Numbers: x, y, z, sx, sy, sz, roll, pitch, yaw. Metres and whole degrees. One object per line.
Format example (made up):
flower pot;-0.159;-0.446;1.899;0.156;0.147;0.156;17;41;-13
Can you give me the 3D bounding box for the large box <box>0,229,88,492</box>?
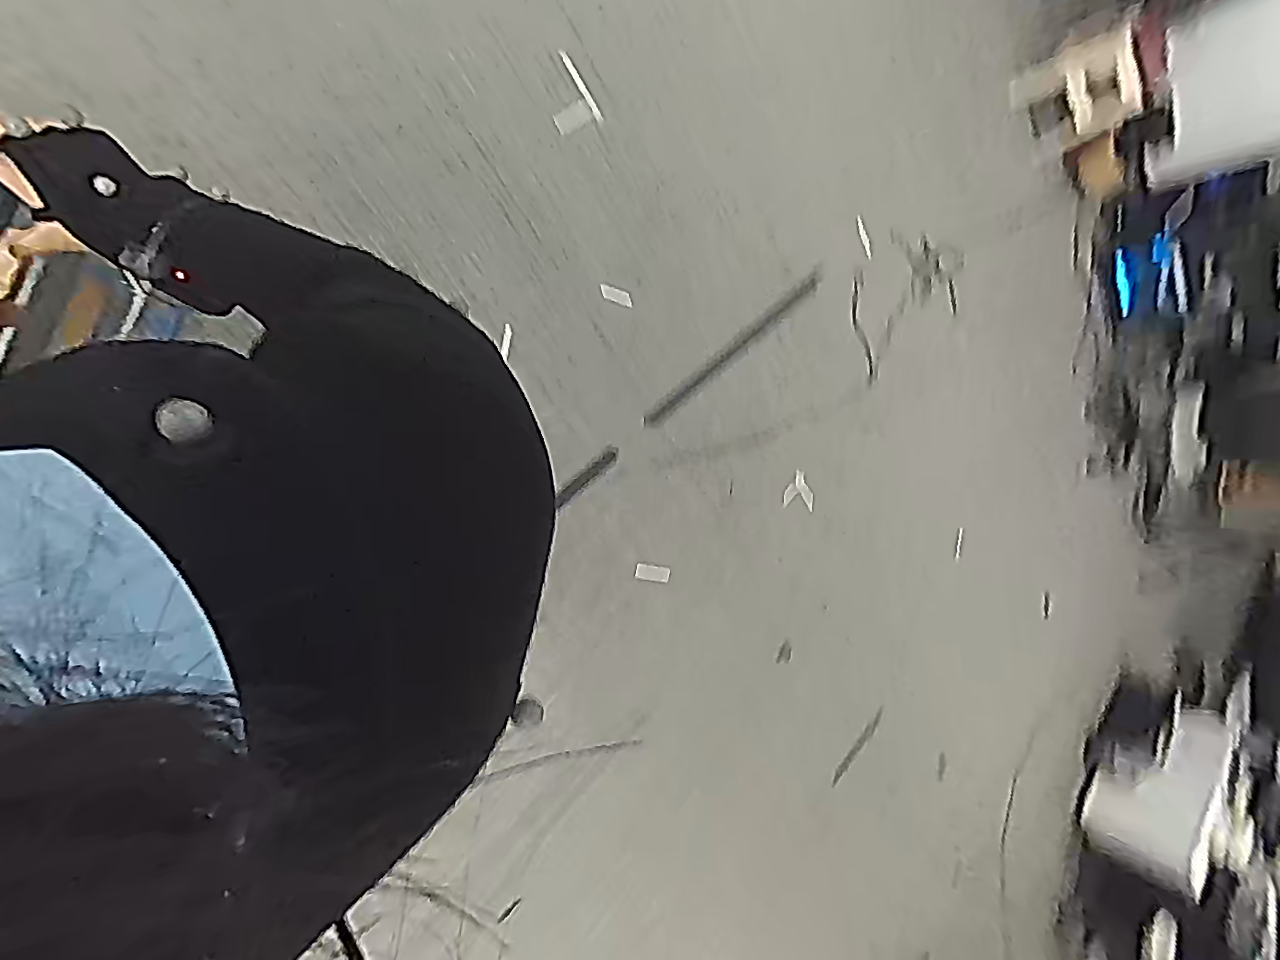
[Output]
large box;-1.066;-0.184;0.724;0.320;0.320;0.408;22;82;-32
